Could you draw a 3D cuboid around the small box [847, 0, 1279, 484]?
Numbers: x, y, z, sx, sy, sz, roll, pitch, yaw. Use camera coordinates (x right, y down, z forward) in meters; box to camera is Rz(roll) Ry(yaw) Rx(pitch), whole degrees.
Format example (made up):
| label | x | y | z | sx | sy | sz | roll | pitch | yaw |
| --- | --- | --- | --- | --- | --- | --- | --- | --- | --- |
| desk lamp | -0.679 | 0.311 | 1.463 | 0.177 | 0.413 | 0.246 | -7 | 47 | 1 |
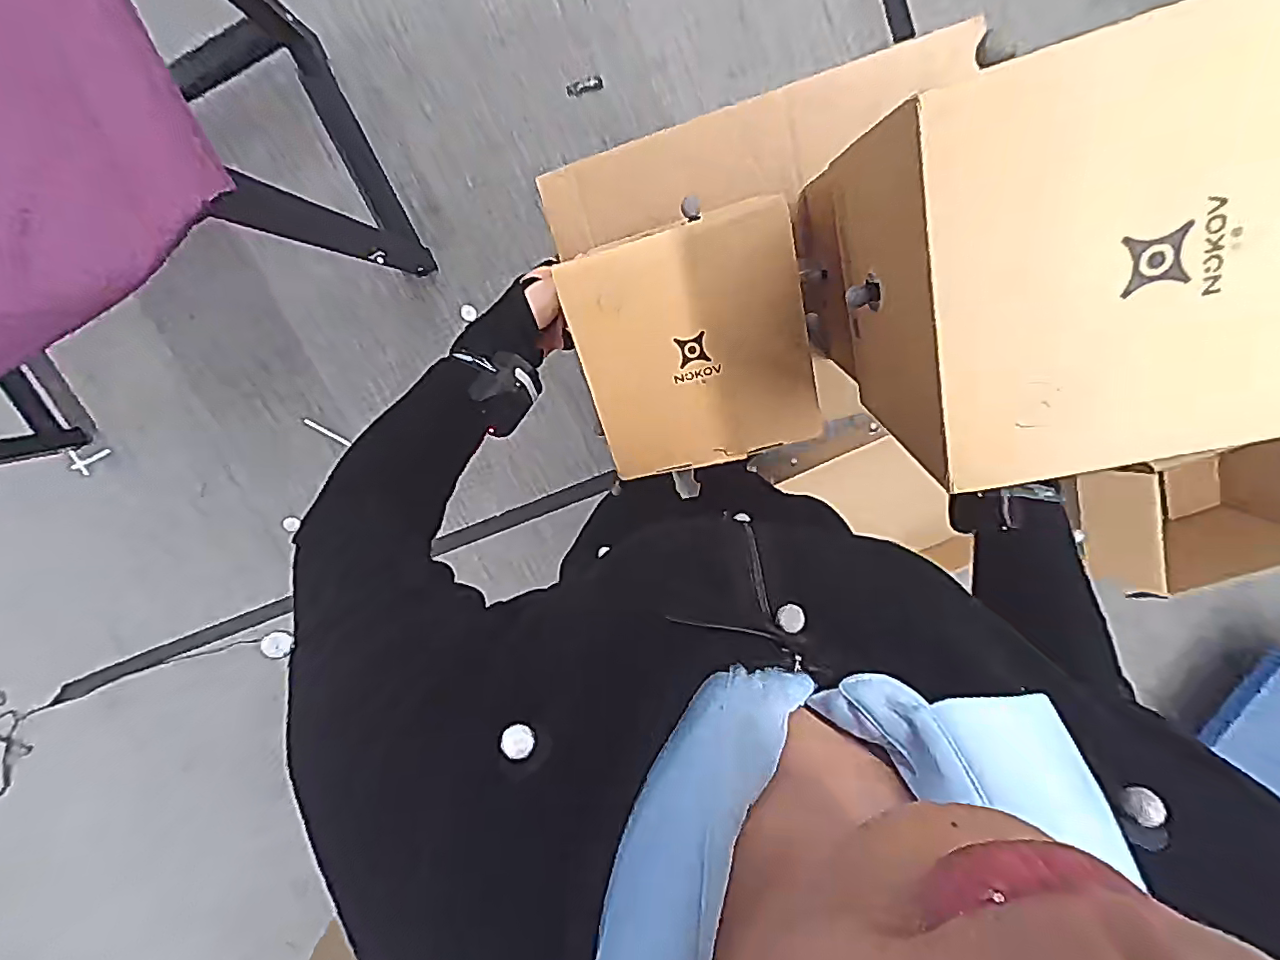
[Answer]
| label | x | y | z | sx | sy | sz | roll | pitch | yaw |
| --- | --- | --- | --- | --- | --- | --- | --- | --- | --- |
| small box | 0.213 | -0.116 | 0.271 | 0.179 | 0.176 | 0.168 | -12 | 110 | 12 |
